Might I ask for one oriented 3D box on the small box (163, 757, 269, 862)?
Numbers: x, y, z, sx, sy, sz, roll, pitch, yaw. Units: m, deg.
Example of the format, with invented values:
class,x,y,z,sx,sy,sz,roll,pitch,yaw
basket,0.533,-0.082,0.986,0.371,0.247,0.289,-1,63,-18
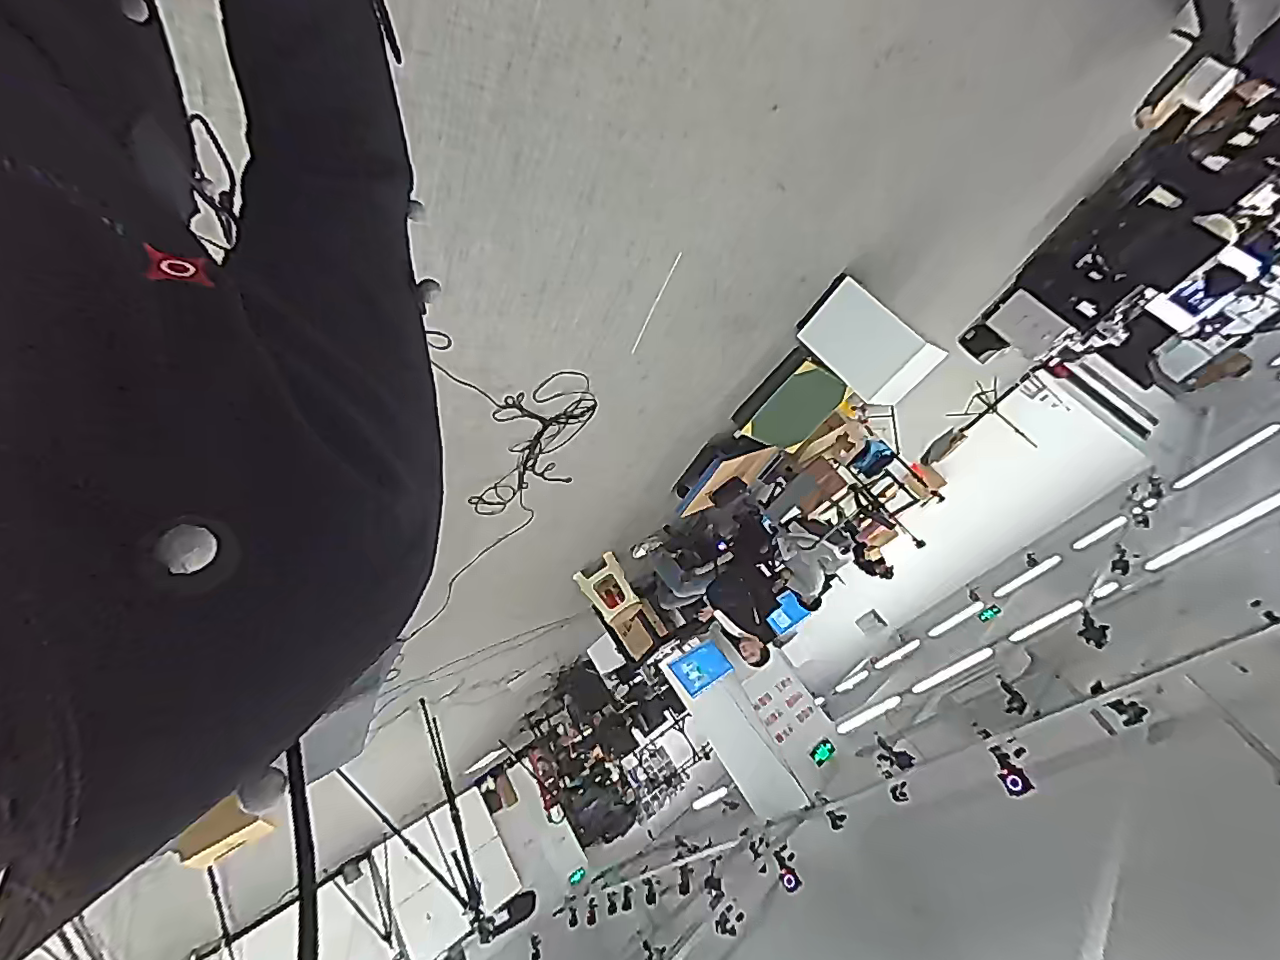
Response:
class,x,y,z,sx,sy,sz,roll,pitch,yaw
small box,-1.109,0.861,1.420,0.168,0.176,0.179,-22,154,-33
